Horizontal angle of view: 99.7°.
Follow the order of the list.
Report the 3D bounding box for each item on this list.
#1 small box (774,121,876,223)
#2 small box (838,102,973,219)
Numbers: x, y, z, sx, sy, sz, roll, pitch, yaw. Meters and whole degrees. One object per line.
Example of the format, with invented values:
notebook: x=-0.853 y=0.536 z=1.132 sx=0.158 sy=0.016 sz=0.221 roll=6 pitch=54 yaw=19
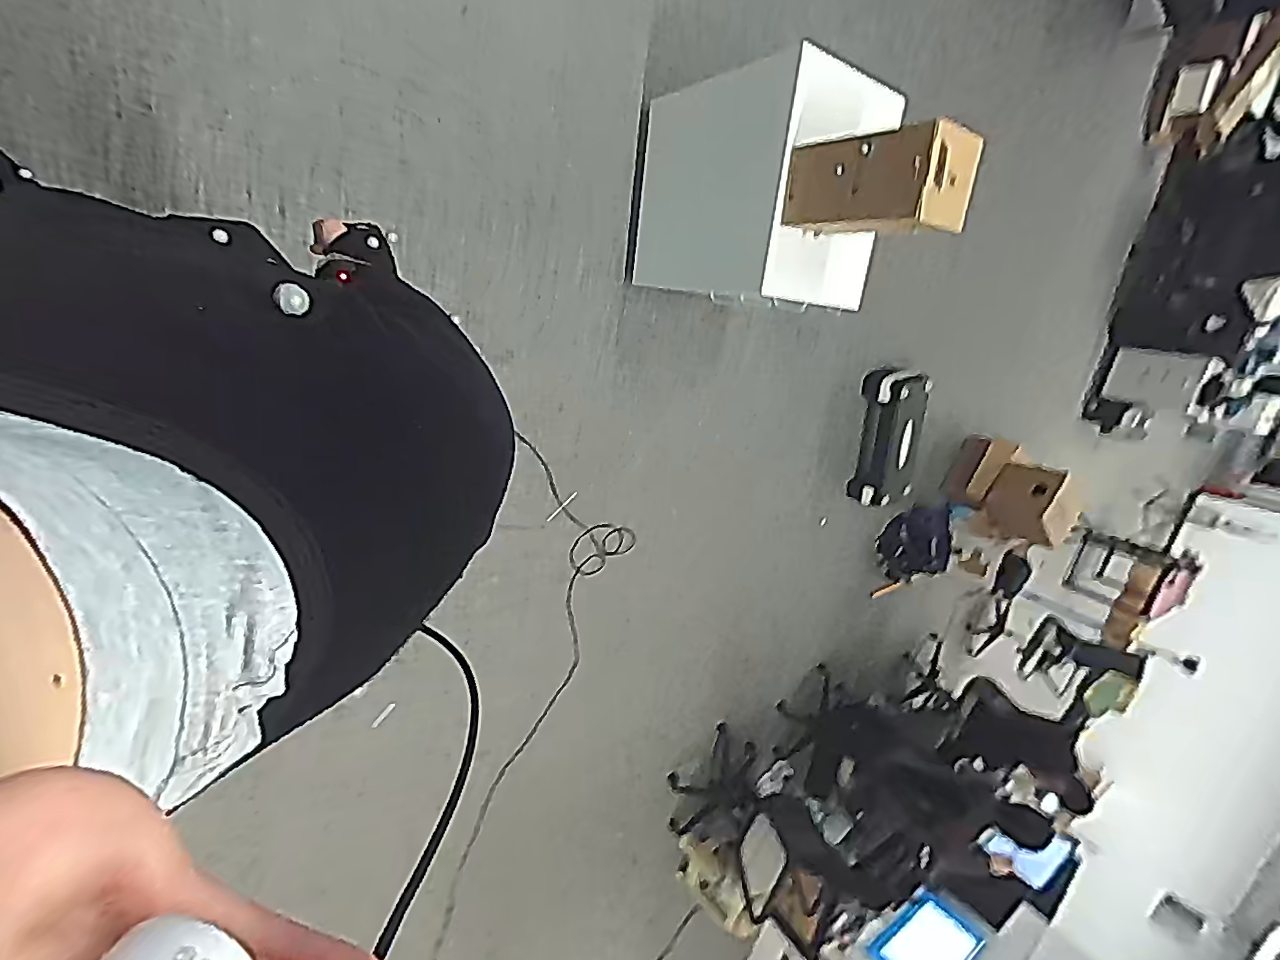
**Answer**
small box: x=0.429 y=-0.676 z=1.210 sx=0.179 sy=0.176 sz=0.168 roll=-13 pitch=114 yaw=-35
small box: x=0.526 y=-0.627 z=1.086 sx=0.179 sy=0.176 sz=0.168 roll=-12 pitch=115 yaw=-36
